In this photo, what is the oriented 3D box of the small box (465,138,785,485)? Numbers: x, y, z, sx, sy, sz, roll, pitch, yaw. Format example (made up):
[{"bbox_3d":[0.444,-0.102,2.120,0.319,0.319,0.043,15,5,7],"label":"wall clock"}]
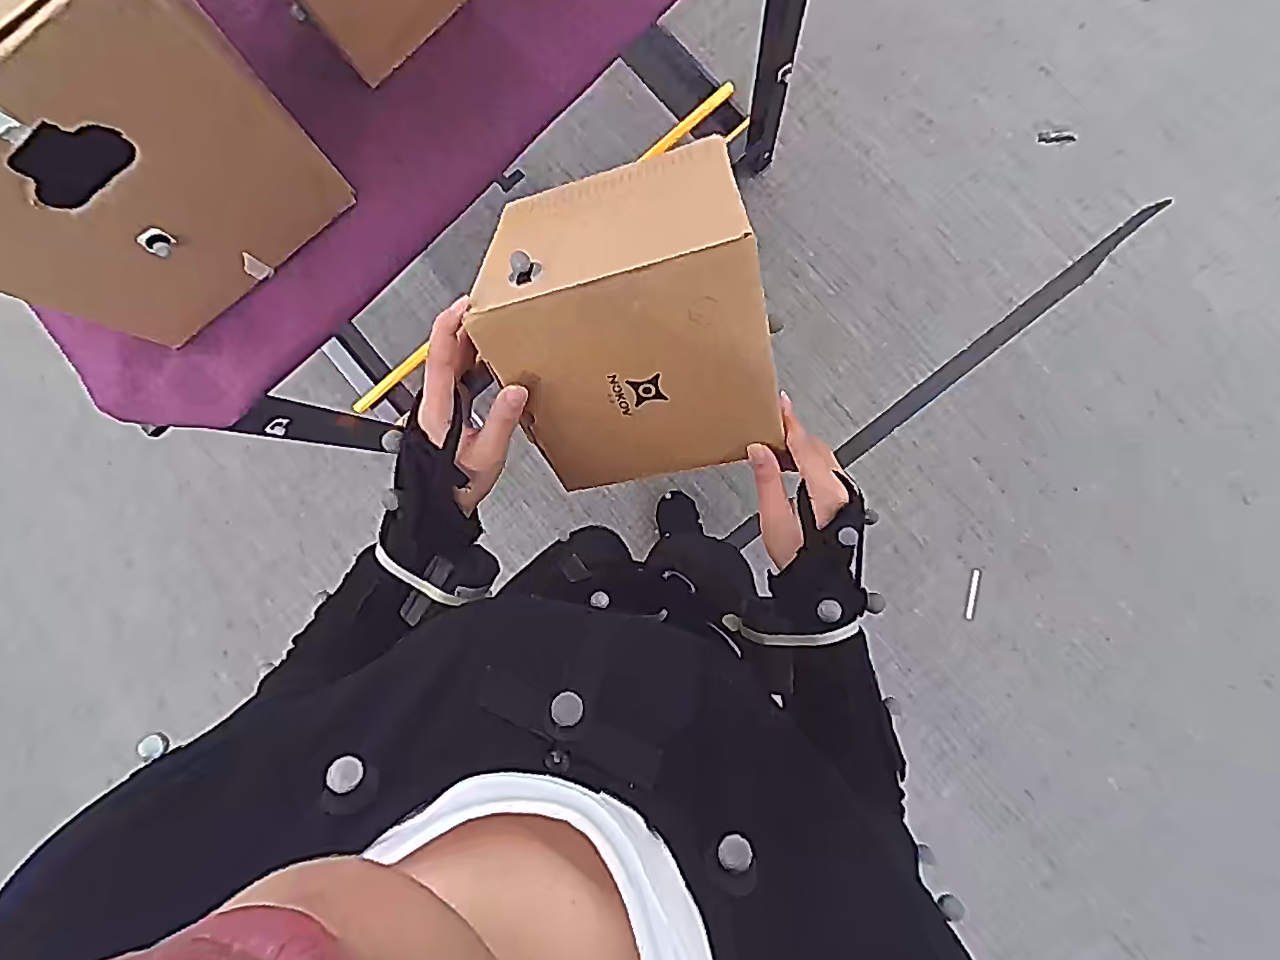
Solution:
[{"bbox_3d":[0.001,-0.123,0.406,0.179,0.168,0.176,-11,47,14],"label":"small box"}]

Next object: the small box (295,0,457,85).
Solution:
[{"bbox_3d":[-0.336,-0.621,0.620,0.179,0.176,0.168,-40,84,2],"label":"small box"}]
